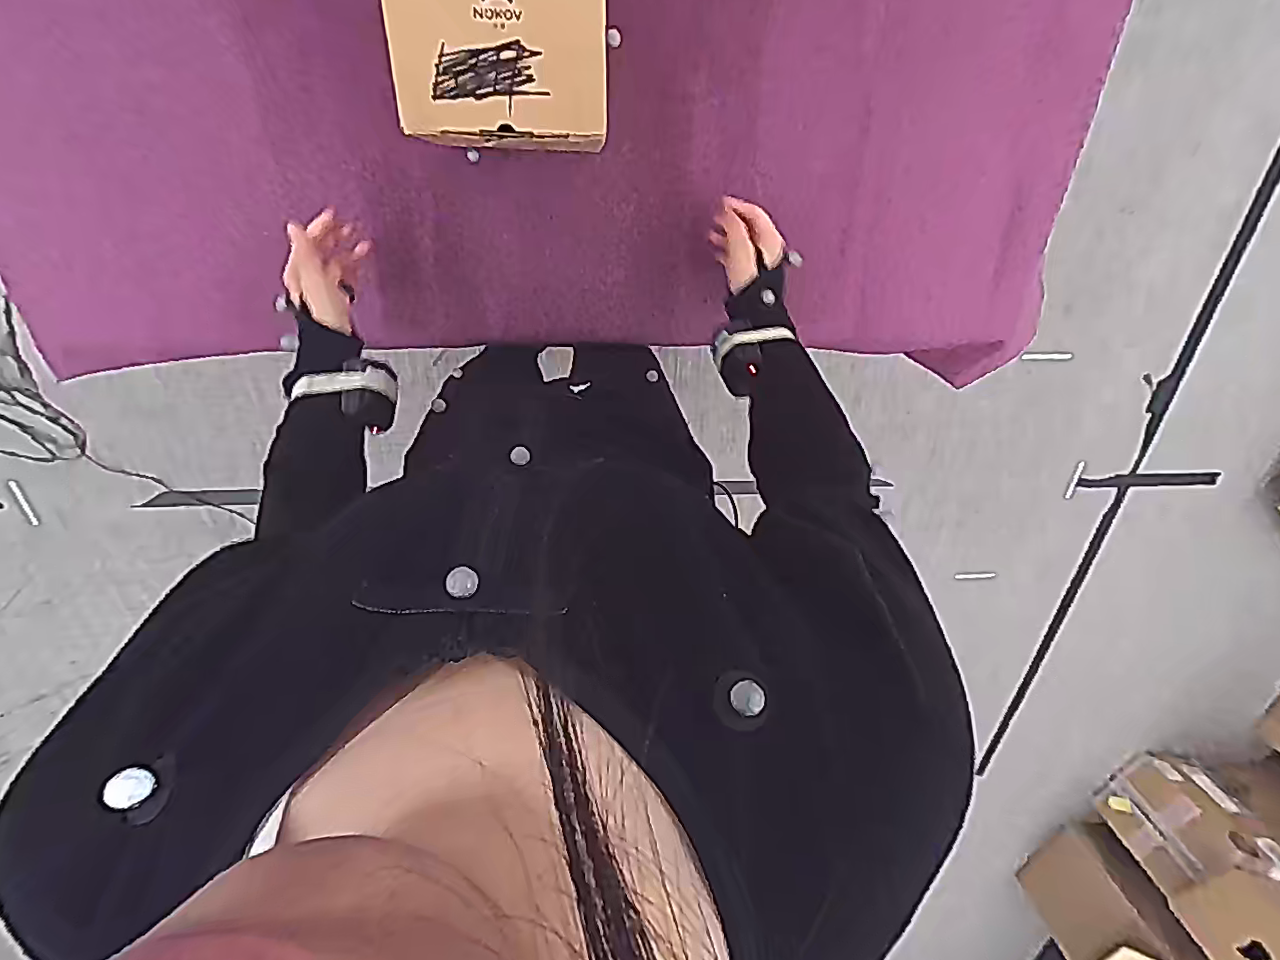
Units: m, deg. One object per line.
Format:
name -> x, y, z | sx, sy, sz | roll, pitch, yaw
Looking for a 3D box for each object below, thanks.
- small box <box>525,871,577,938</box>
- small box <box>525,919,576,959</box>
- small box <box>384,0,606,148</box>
small box -> -0.327, 1.590, 2.012 | 0.179, 0.176, 0.168 | -2, 117, -4
small box -> -0.307, 1.658, 1.865 | 0.168, 0.176, 0.179 | -2, 117, -5
small box -> -0.113, -0.396, 0.469 | 0.168, 0.176, 0.179 | -1, 118, -6
